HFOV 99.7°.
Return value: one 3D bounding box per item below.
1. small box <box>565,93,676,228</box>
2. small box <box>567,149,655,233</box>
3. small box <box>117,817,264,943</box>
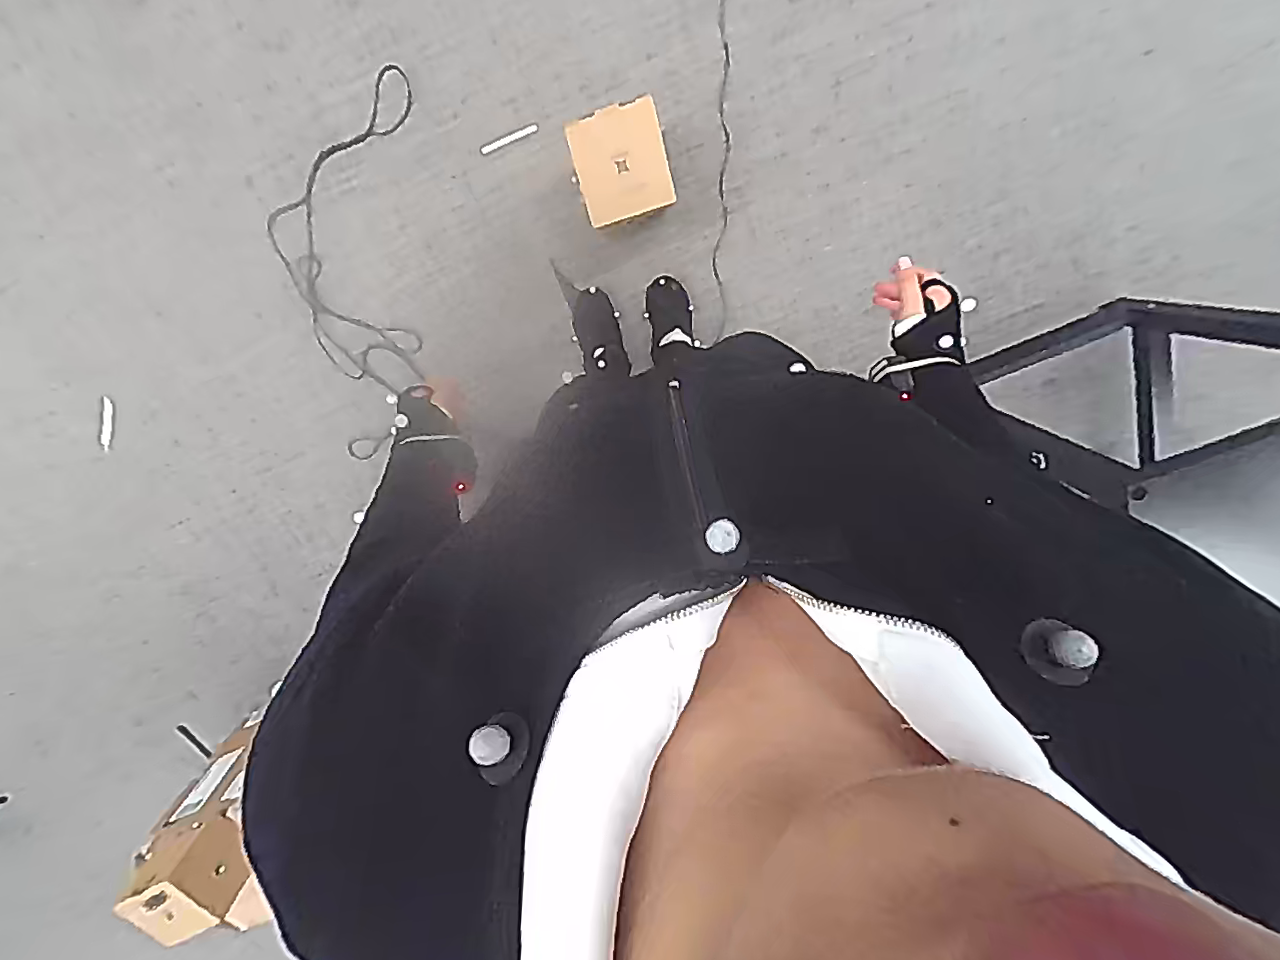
[{"bbox_3d":[-0.035,-0.603,1.046,0.168,0.176,0.179,-16,113,6],"label":"small box"},{"bbox_3d":[-0.043,-0.663,1.199,0.179,0.176,0.168,-20,112,7],"label":"small box"},{"bbox_3d":[-1.082,0.961,1.319,0.168,0.176,0.179,-28,110,7],"label":"small box"}]
